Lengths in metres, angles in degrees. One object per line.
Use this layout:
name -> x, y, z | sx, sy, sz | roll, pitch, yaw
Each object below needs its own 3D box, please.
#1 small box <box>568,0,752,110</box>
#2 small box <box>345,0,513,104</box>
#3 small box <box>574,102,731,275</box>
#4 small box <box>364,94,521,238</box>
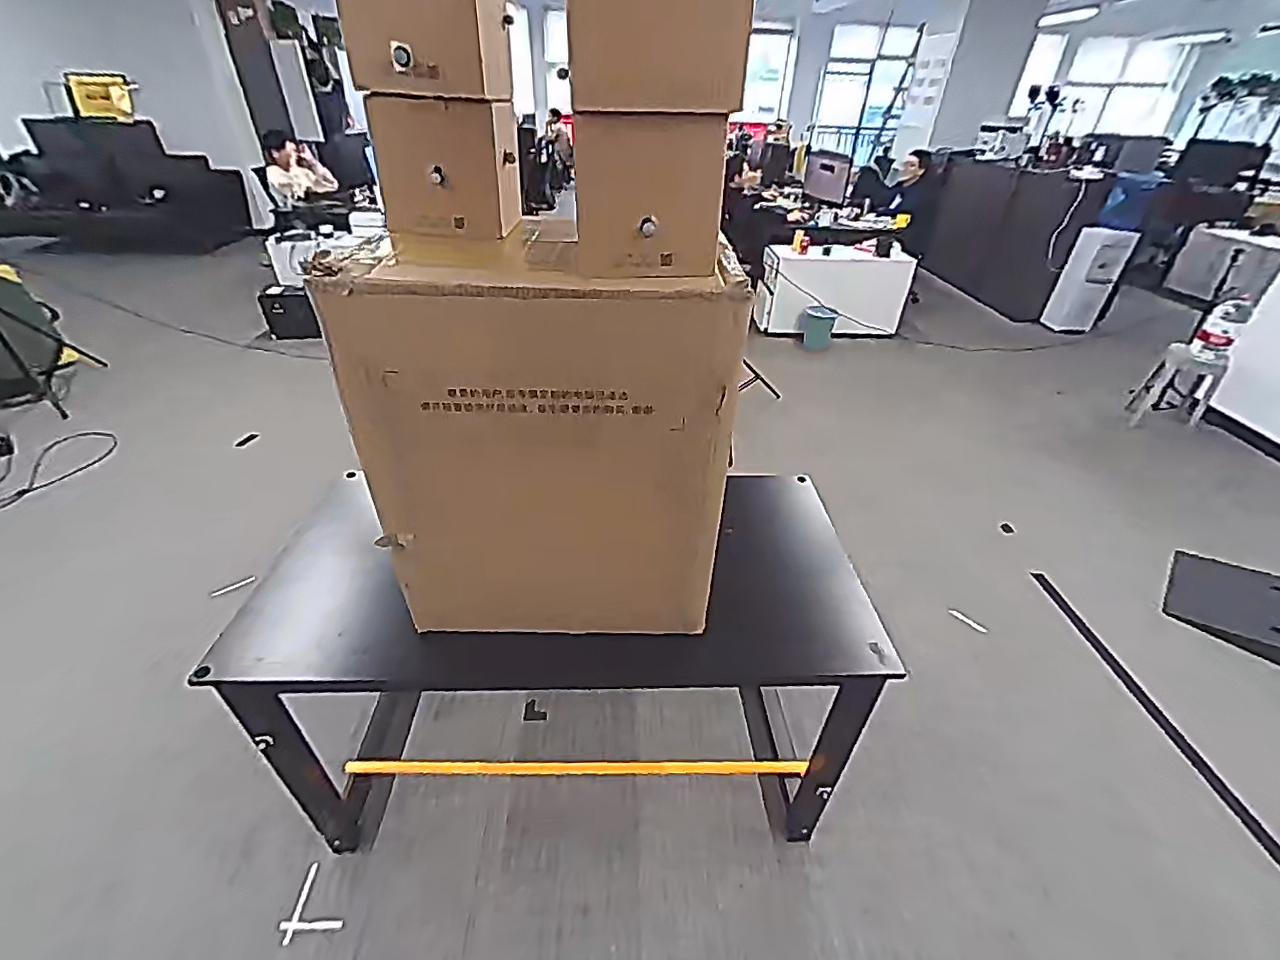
small box -> 0.015, -0.481, 0.552 | 0.179, 0.176, 0.168 | -3, 37, -6
small box -> -0.262, -0.588, 0.689 | 0.168, 0.176, 0.179 | 2, 35, -1
small box -> 0.007, -0.362, 0.668 | 0.168, 0.176, 0.179 | -3, 36, -3
small box -> -0.272, -0.463, 0.796 | 0.168, 0.176, 0.179 | 2, 35, -3
